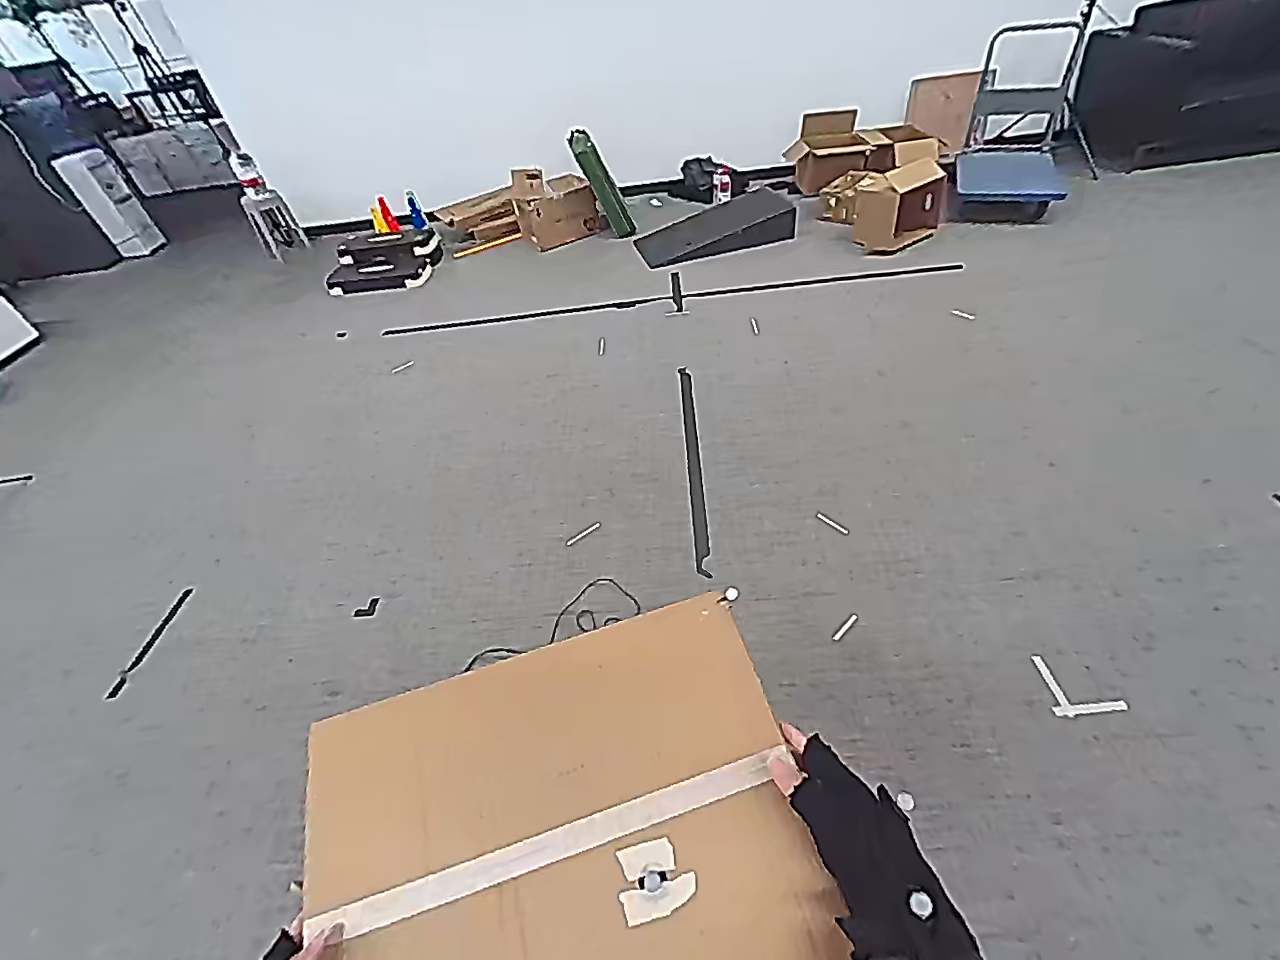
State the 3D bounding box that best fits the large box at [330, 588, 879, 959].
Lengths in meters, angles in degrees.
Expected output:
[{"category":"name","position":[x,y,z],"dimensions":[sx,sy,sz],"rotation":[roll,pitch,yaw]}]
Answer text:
[{"category":"large box","position":[-0.047,0.369,0.574],"dimensions":[0.408,0.320,0.320],"rotation":[-17,59,-6]}]
